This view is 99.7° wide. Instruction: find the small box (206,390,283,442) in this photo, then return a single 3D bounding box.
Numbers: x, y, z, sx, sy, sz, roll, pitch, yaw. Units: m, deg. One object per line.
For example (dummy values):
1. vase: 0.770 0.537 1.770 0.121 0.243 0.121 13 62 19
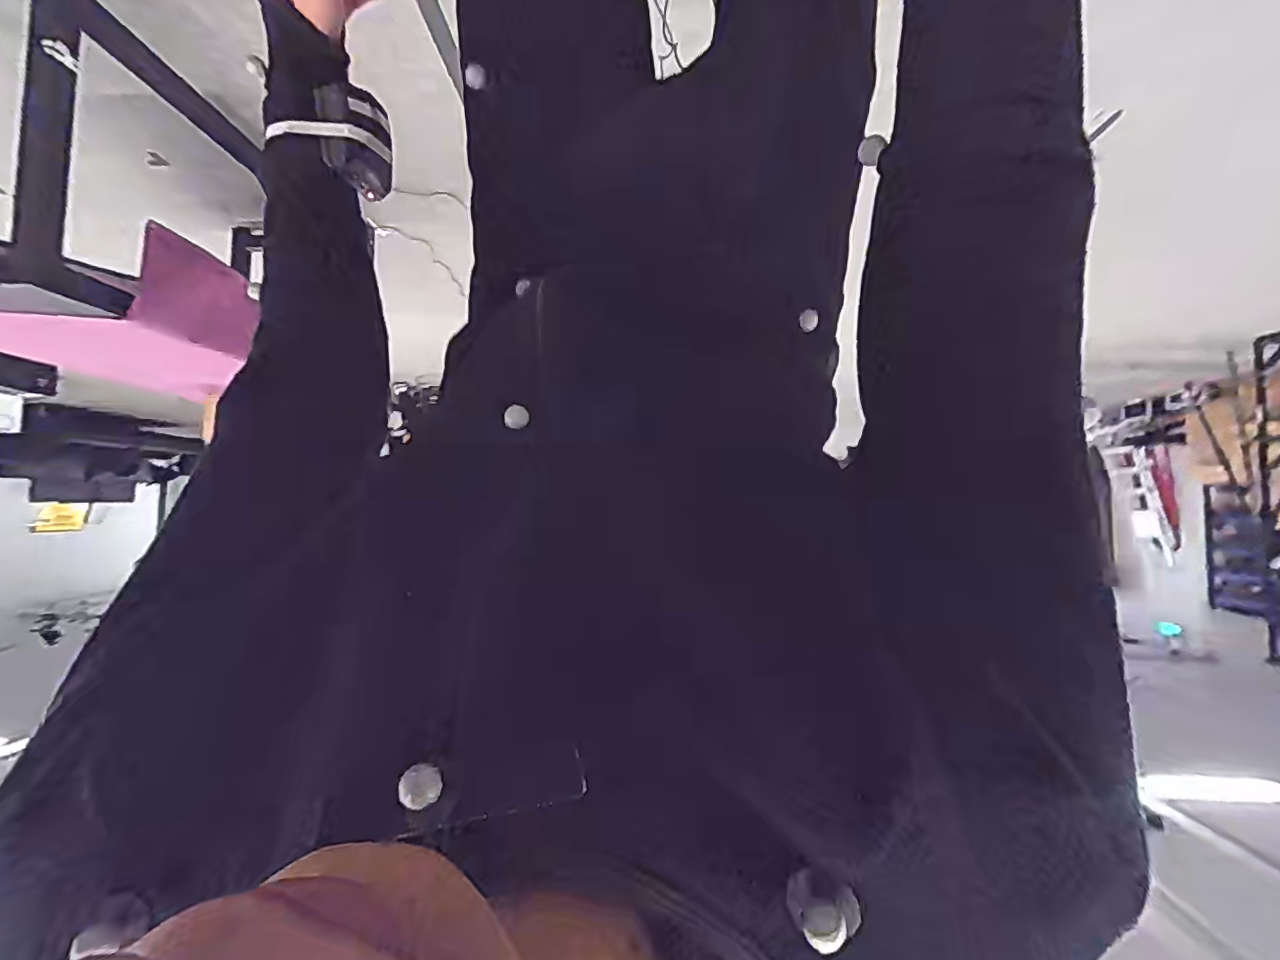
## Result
1. small box: -1.464 -0.238 2.012 0.179 0.176 0.168 0 177 0
